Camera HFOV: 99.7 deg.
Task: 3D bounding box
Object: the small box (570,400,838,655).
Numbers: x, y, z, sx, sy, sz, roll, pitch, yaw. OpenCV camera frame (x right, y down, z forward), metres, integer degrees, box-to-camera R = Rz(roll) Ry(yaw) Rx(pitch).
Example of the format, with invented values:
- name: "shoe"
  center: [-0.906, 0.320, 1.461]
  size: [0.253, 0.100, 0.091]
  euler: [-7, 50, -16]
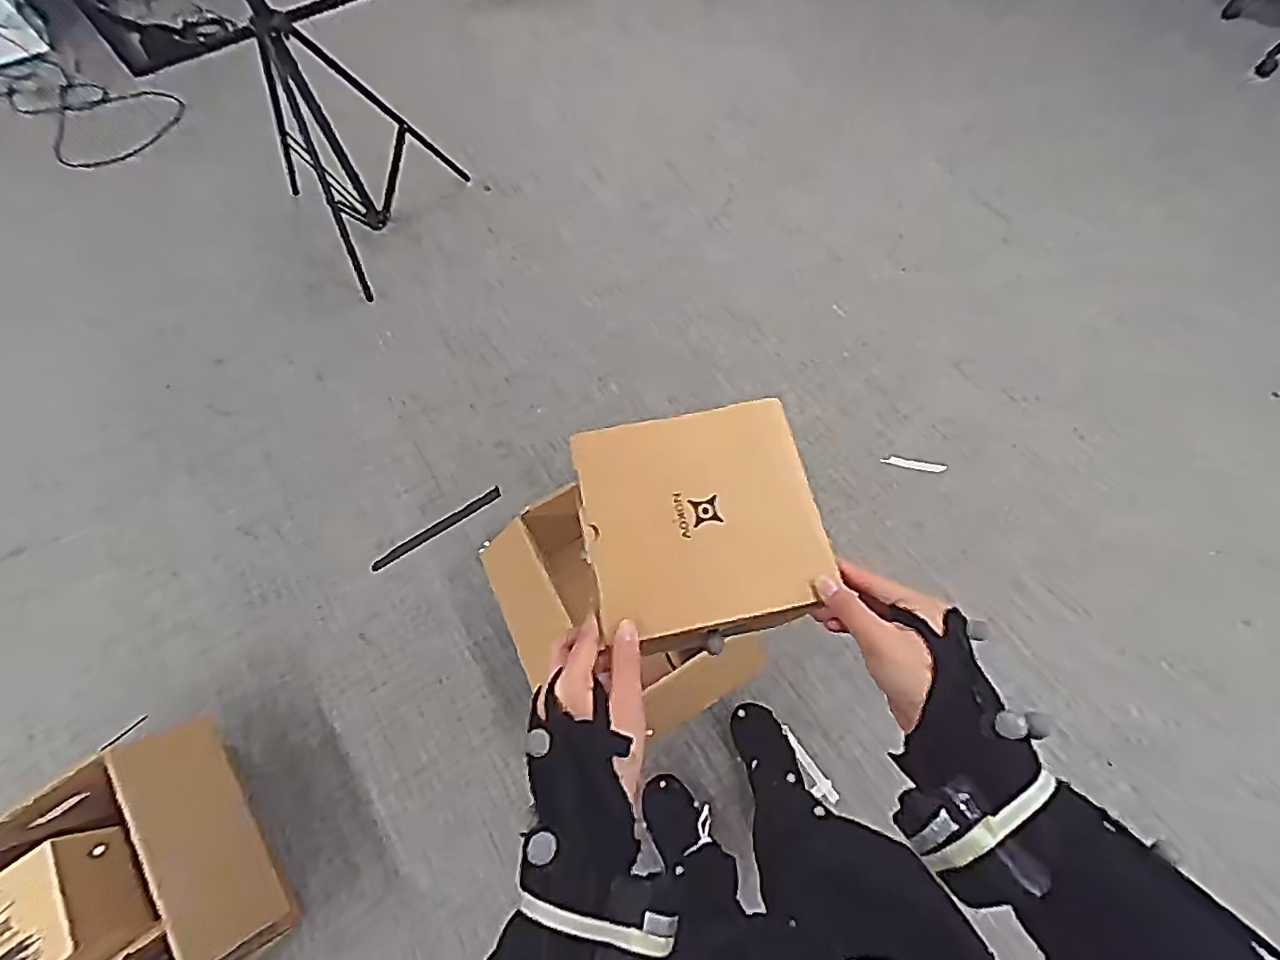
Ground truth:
- name: "small box"
  center: [0.043, 0.053, 0.484]
  size: [0.179, 0.176, 0.168]
  euler: [-12, 69, -4]
